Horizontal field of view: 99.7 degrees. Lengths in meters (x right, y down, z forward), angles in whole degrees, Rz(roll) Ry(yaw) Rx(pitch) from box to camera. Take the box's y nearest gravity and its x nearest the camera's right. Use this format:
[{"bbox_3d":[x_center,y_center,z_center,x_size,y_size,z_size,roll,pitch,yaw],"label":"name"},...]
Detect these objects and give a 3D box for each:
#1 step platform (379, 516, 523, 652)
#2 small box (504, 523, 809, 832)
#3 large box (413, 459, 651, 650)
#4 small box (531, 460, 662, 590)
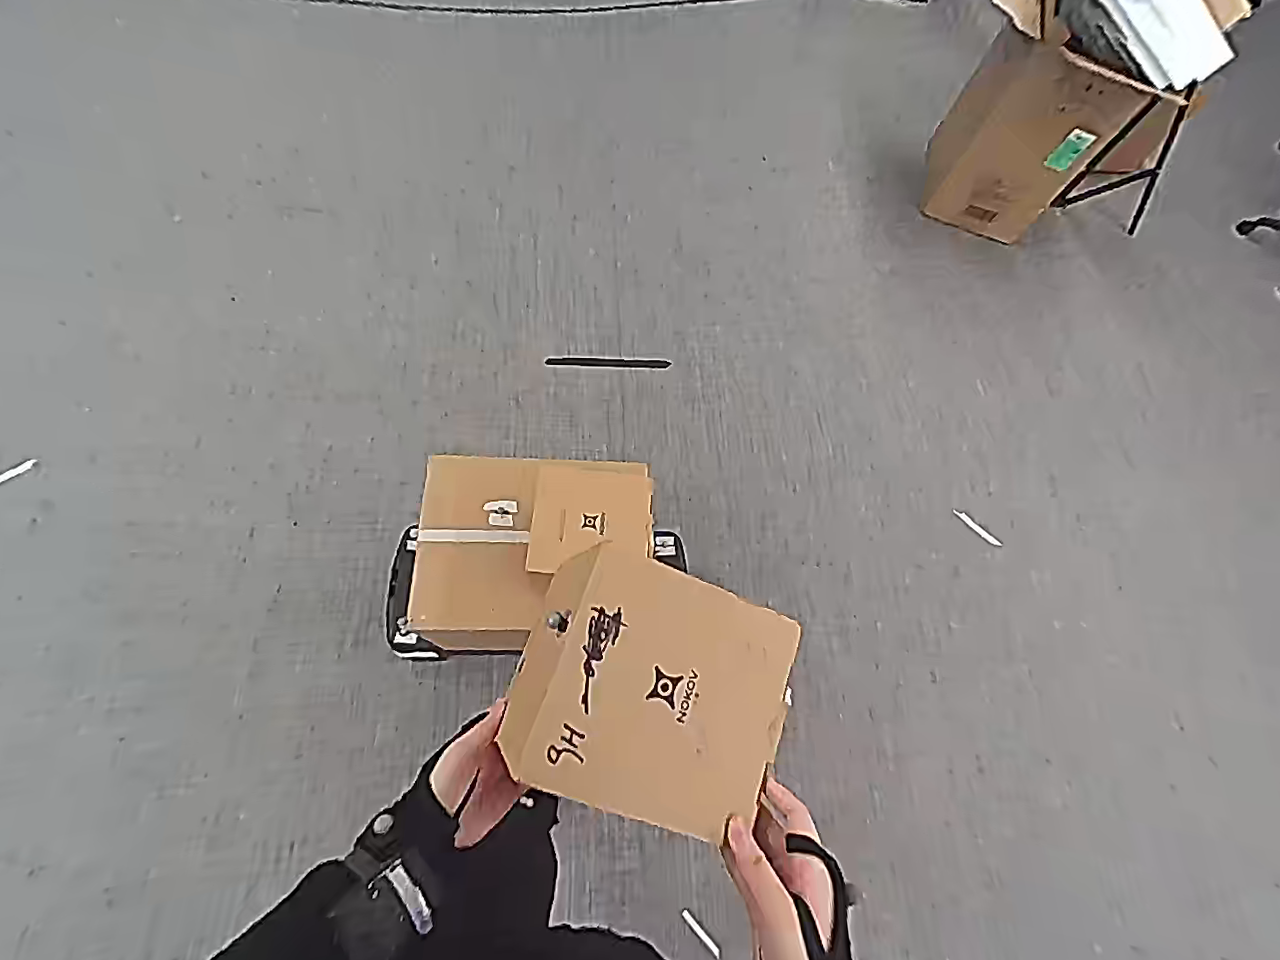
[{"bbox_3d":[-0.235,0.272,1.283,0.684,0.204,0.286,6,66,-5],"label":"step platform"},{"bbox_3d":[0.004,0.154,0.453,0.179,0.176,0.168,26,69,-11],"label":"small box"},{"bbox_3d":[-0.186,0.162,1.075,0.408,0.320,0.320,1,66,-7],"label":"large box"},{"bbox_3d":[-0.069,0.086,0.856,0.179,0.176,0.168,7,66,-5],"label":"small box"}]
